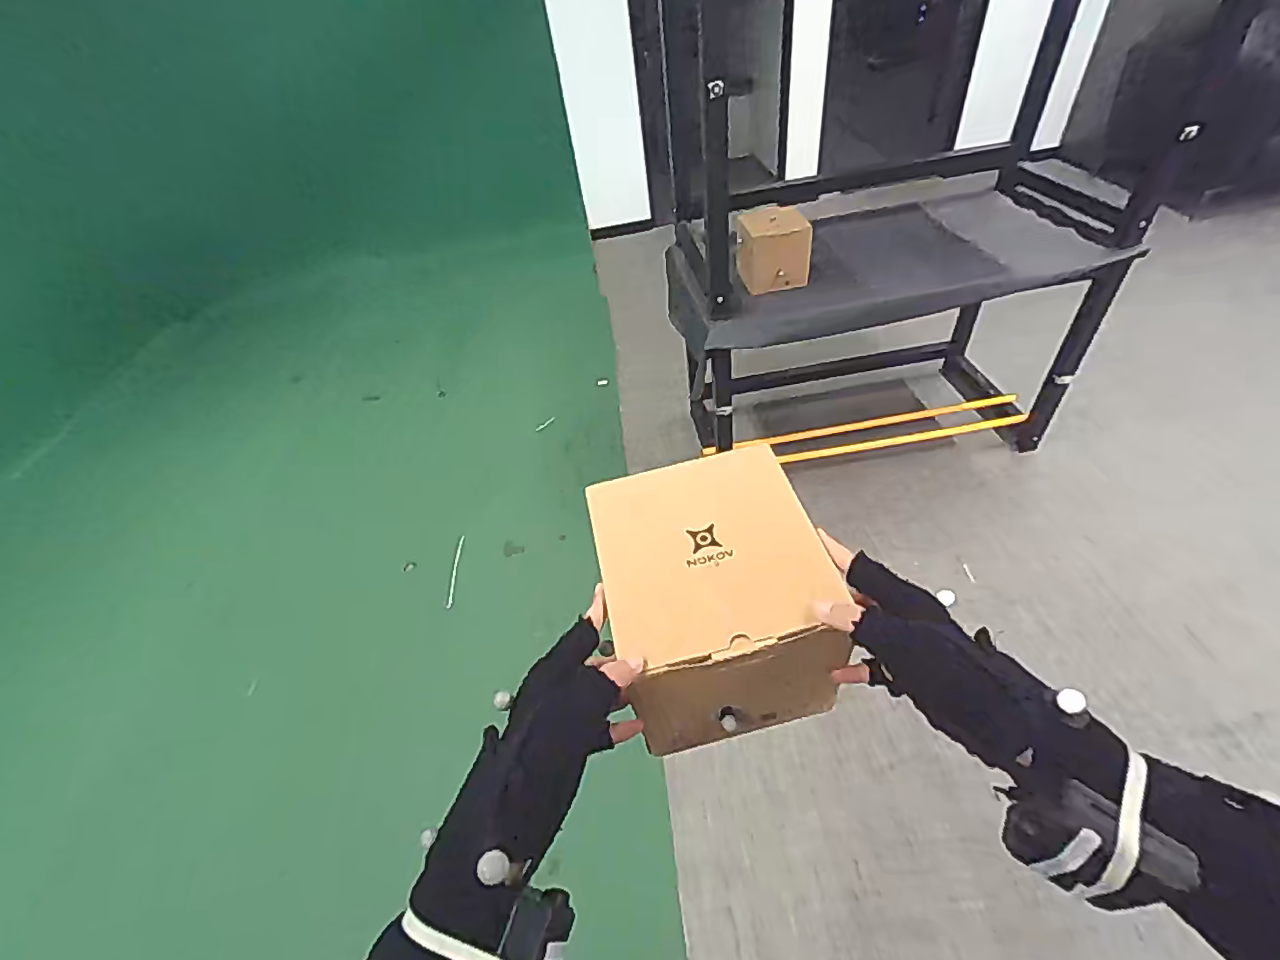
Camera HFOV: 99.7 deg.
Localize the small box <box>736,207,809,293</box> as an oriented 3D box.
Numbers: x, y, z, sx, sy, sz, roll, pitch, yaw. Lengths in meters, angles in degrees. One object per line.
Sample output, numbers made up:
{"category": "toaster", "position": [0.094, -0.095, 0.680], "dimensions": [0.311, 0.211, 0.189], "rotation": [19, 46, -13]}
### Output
{"category": "small box", "position": [0.375, -0.663, 1.564], "dimensions": [0.168, 0.176, 0.179], "rotation": [-10, 44, 1]}
